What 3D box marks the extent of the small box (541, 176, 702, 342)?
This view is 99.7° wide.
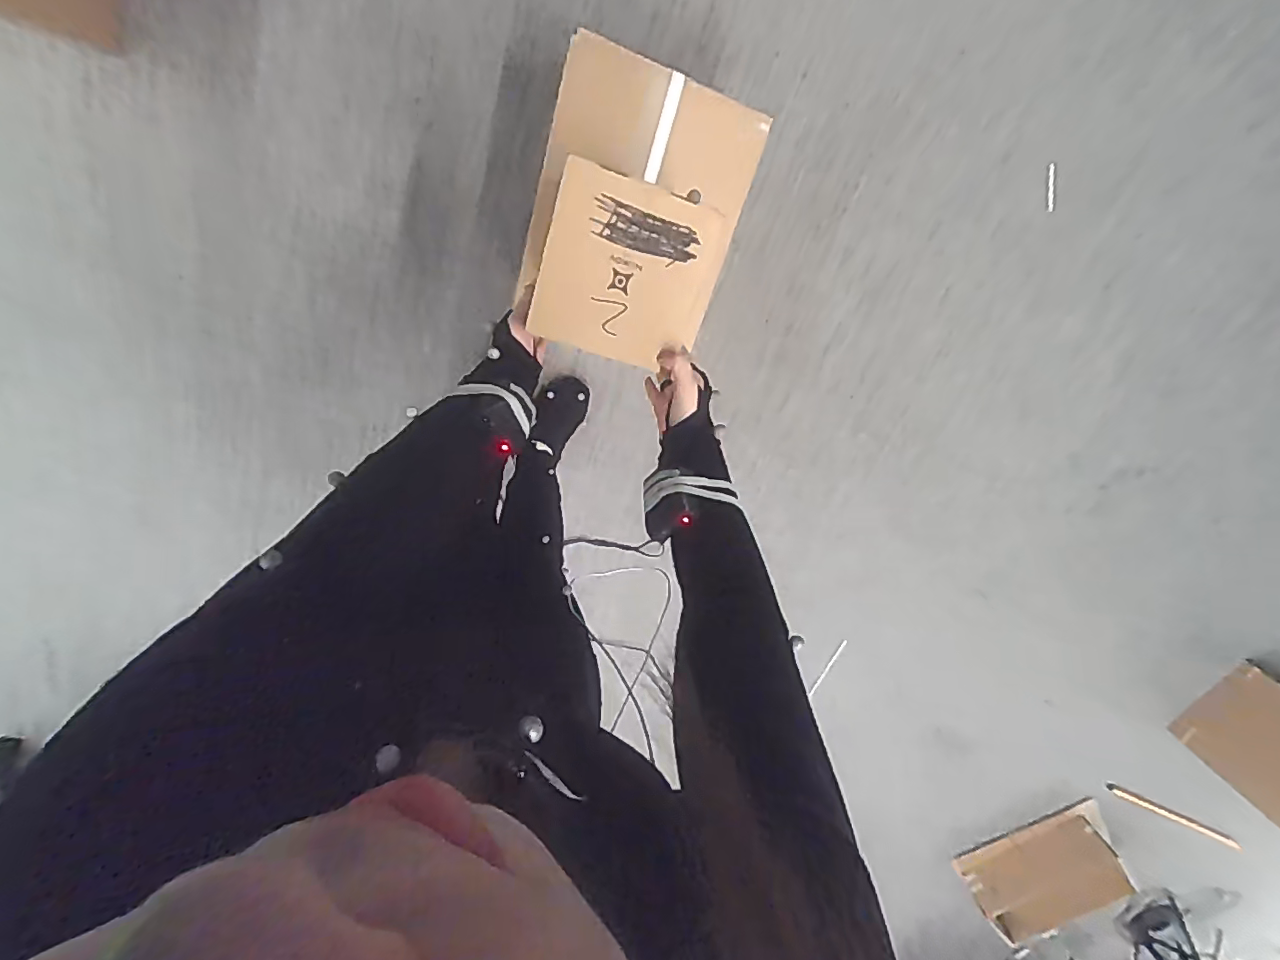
[{"bbox_3d":[-0.034,-0.321,0.781,0.179,0.176,0.168,14,114,-13],"label":"small box"}]
